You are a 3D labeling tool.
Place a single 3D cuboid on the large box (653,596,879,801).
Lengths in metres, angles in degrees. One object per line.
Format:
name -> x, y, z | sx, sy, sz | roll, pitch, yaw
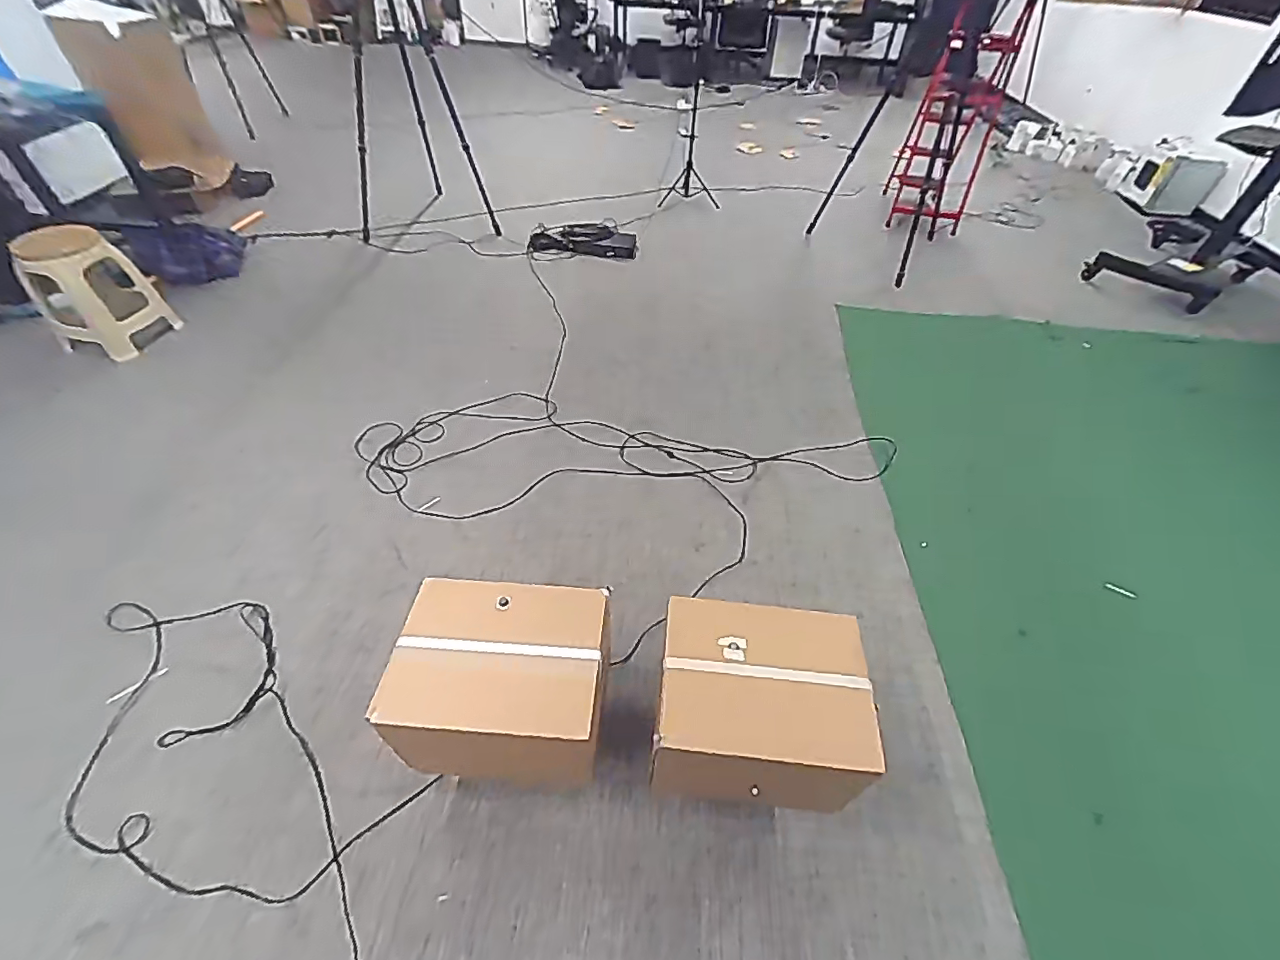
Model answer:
large box -> 0.246, 0.483, 1.187 | 0.408, 0.320, 0.320 | 6, 47, 3
